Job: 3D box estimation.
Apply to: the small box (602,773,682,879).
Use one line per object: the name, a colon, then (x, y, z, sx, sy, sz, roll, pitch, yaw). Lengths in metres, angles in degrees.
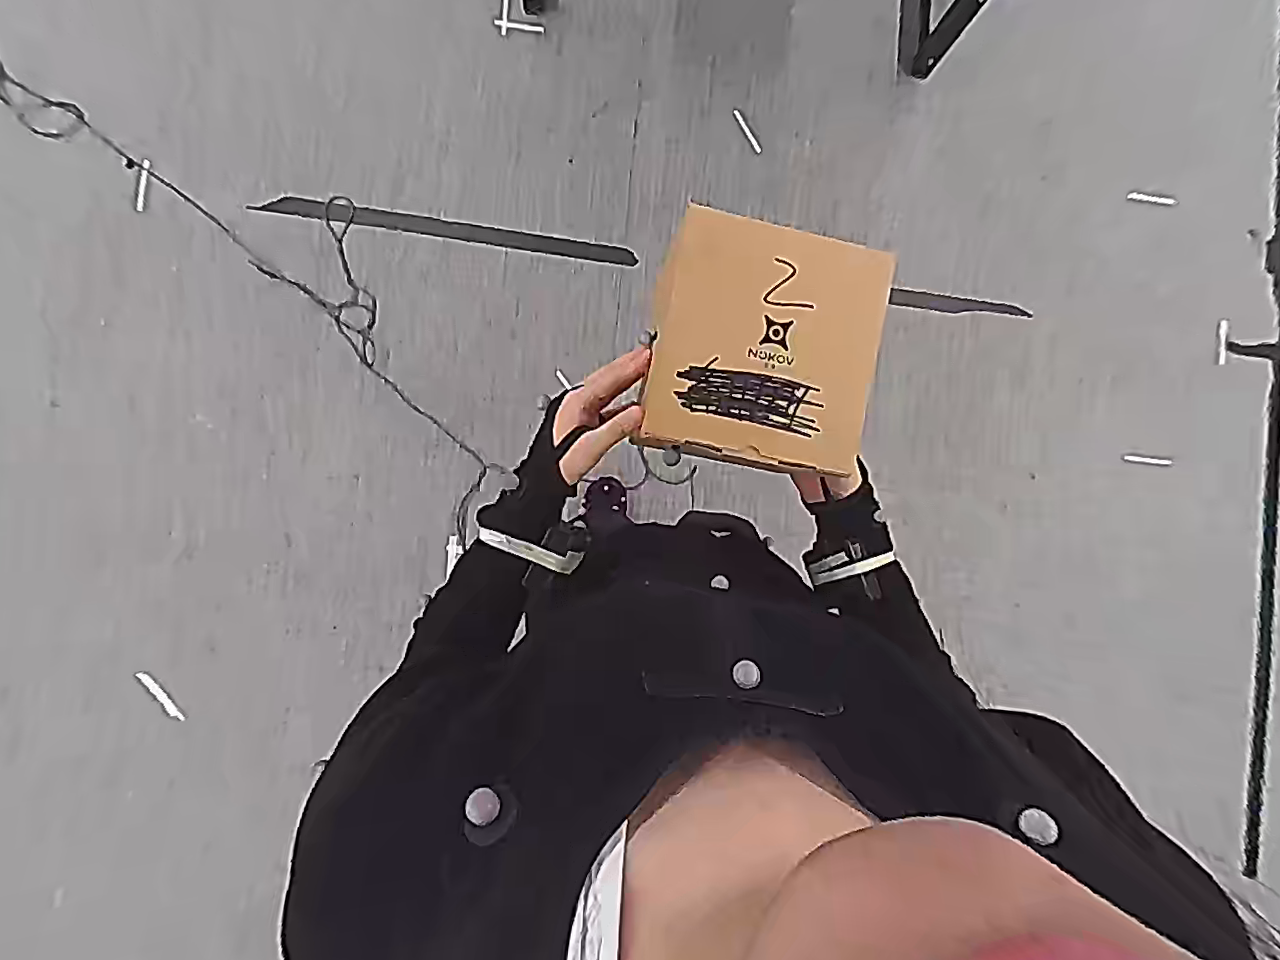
small box: (-0.002, 0.876, 1.384, 0.179, 0.176, 0.168, 7, 88, -6)
